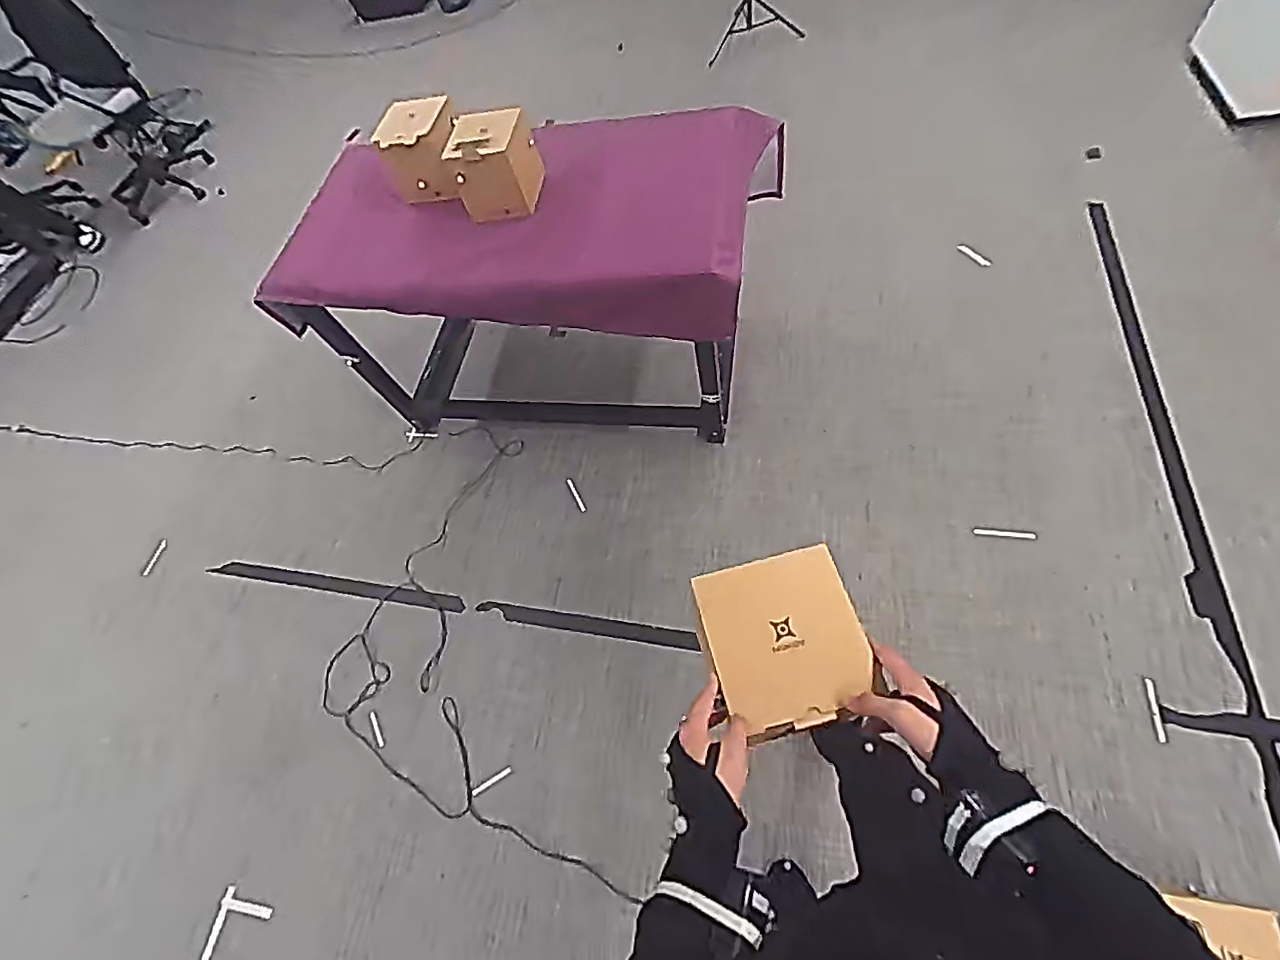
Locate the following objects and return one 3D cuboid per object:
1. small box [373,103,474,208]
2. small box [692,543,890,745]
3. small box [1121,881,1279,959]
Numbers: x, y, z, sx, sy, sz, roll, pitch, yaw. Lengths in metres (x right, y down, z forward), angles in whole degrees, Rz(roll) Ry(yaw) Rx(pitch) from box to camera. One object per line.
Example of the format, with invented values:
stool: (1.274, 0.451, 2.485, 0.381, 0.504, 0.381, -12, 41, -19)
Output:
small box: (-0.563, -0.857, 1.436, 0.168, 0.176, 0.179, 2, 63, 14)
small box: (0.163, 0.204, 0.655, 0.168, 0.176, 0.179, -15, 60, -2)
small box: (1.052, 0.874, 1.010, 0.179, 0.176, 0.168, 2, 63, 13)
